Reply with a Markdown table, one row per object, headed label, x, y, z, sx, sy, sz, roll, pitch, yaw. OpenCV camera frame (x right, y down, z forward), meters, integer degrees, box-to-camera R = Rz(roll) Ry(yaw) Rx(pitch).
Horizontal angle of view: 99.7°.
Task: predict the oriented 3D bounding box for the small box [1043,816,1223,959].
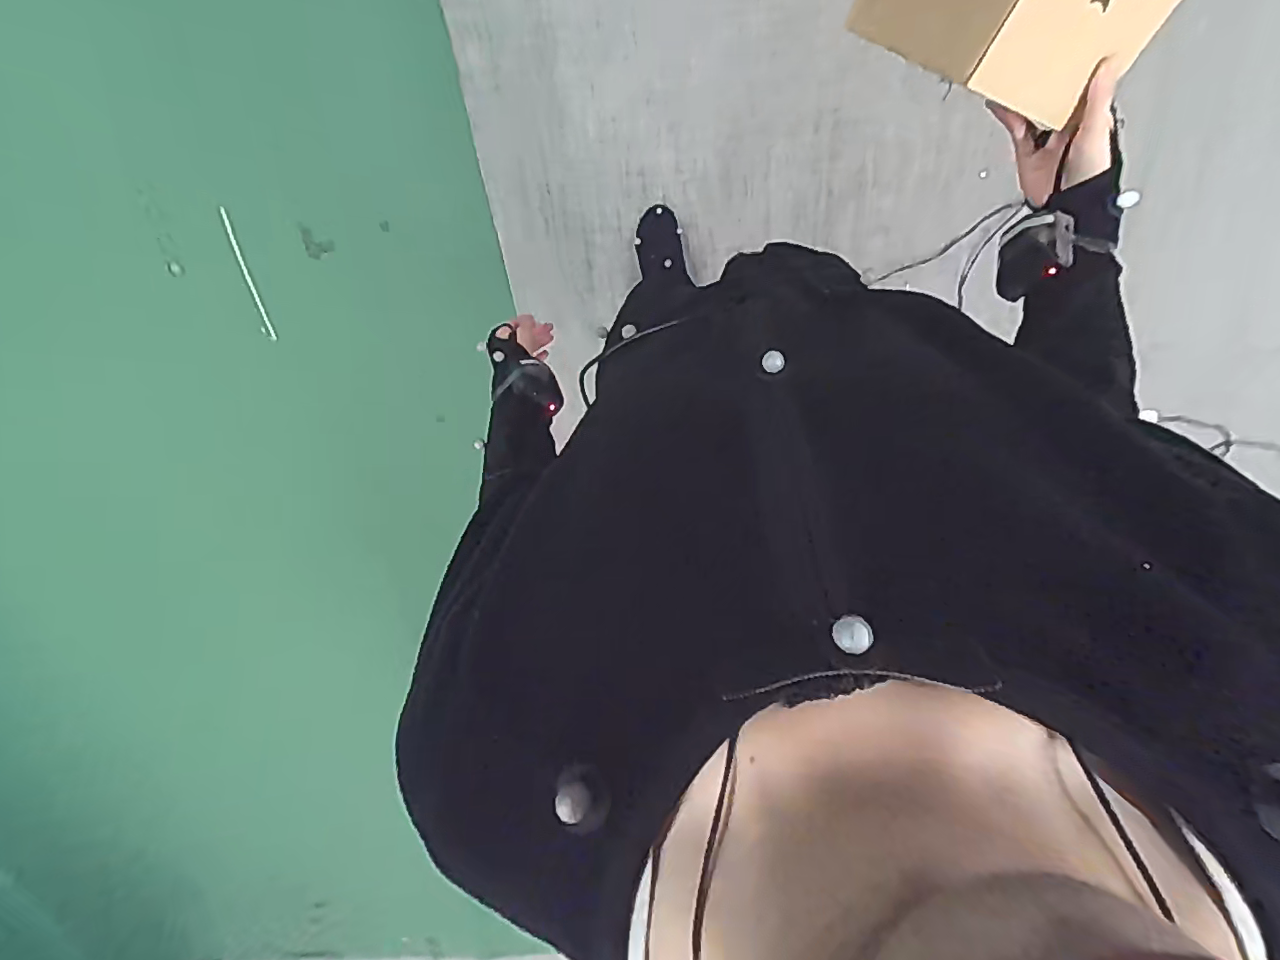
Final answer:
| label | x | y | z | sx | sy | sz | roll | pitch | yaw |
| --- | --- | --- | --- | --- | --- | --- | --- | --- | --- |
| small box | 0.935 | 0.785 | 1.049 | 0.168 | 0.176 | 0.179 | 2 | 116 | 1 |

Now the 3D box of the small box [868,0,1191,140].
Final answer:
| label | x | y | z | sx | sy | sz | roll | pitch | yaw |
| --- | --- | --- | --- | --- | --- | --- | --- | --- | --- |
| small box | 0.319 | -0.419 | 0.437 | 0.168 | 0.176 | 0.179 | -3 | 138 | -27 |
